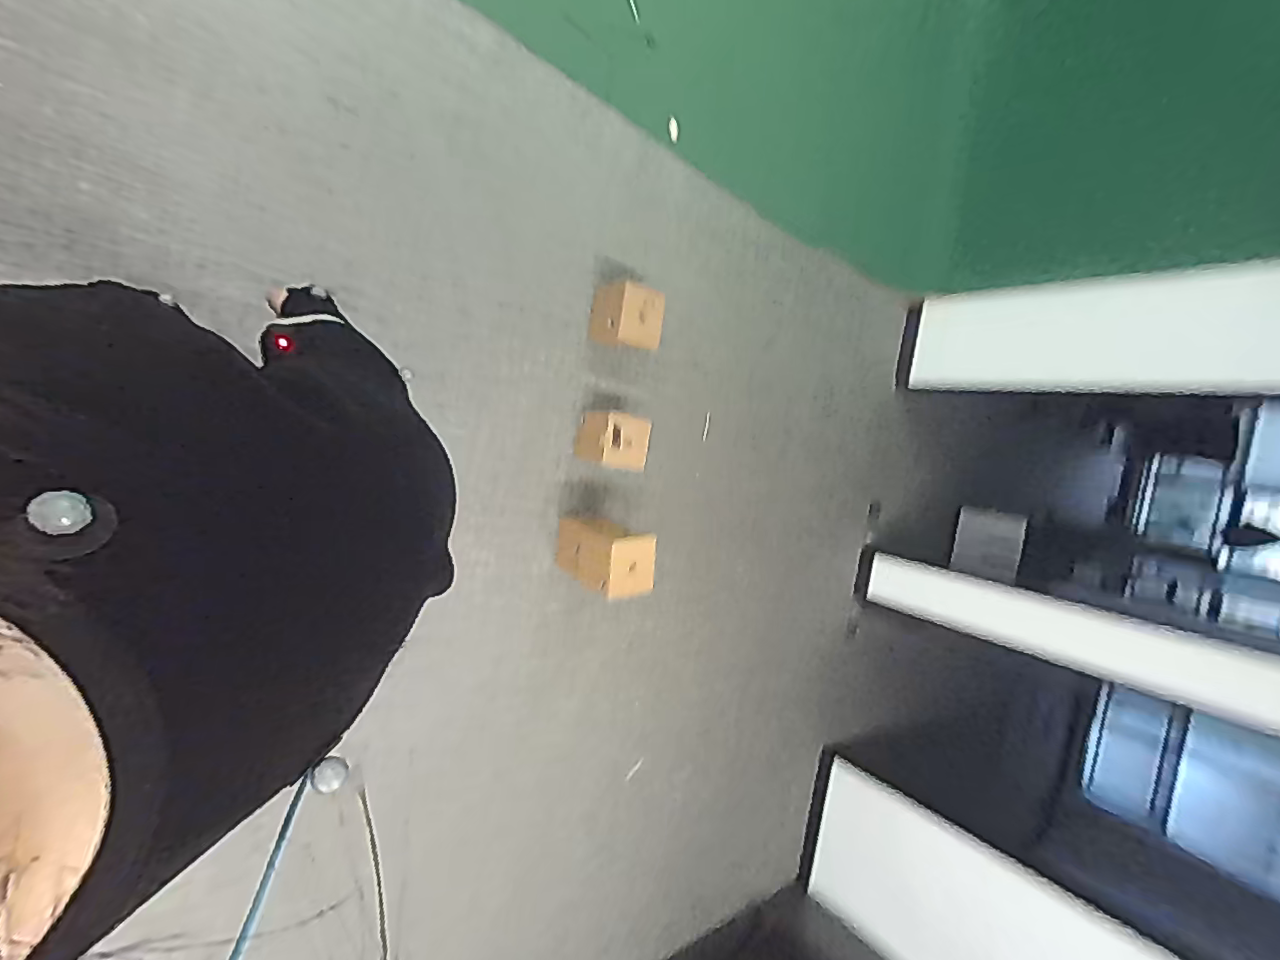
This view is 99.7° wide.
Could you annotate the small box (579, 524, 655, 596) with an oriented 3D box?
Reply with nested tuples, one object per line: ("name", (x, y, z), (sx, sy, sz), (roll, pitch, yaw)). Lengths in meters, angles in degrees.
("small box", (-0.072, 0.234, 1.646), (0.168, 0.176, 0.179), (-3, 102, -38))

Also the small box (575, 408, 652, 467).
("small box", (-0.091, -0.140, 1.764), (0.179, 0.176, 0.168), (6, 95, -40))

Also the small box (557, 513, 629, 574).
("small box", (-0.160, 0.207, 1.781), (0.168, 0.176, 0.179), (3, 98, -38))

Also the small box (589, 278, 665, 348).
("small box", (-0.045, -0.524, 1.723), (0.168, 0.176, 0.179), (5, 96, -40))
